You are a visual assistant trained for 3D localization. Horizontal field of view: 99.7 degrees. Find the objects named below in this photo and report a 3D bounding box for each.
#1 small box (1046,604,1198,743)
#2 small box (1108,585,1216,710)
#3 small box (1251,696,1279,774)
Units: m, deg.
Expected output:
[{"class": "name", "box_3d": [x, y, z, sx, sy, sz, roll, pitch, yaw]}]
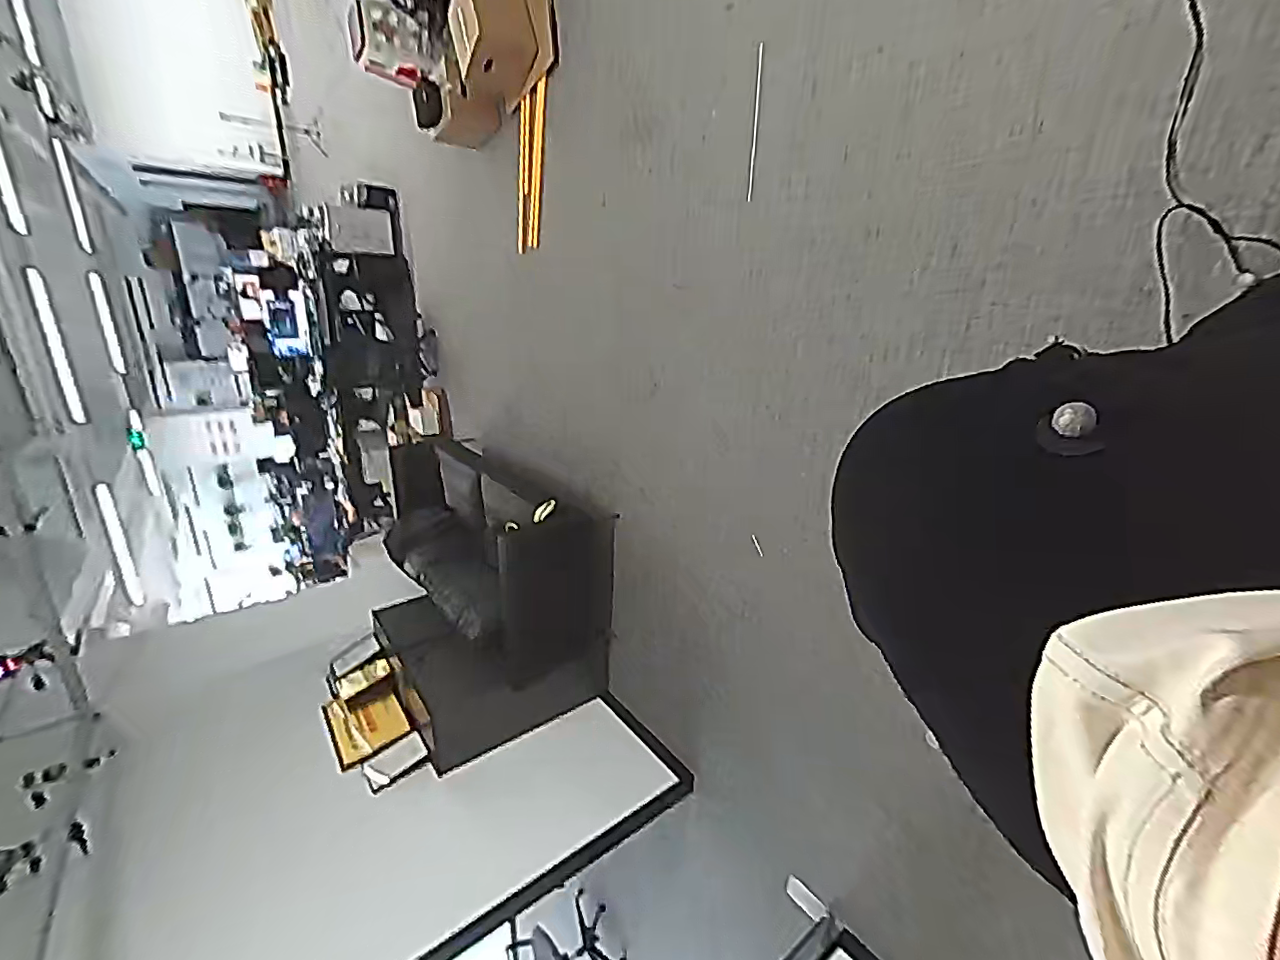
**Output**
[{"class": "small box", "box_3d": [0.986, 0.386, 1.107, 0.168, 0.176, 0.179, 34, 127, 44]}, {"class": "small box", "box_3d": [1.121, 0.363, 1.199, 0.168, 0.176, 0.179, 32, 125, 45]}, {"class": "small box", "box_3d": [1.294, 0.473, 0.992, 0.168, 0.176, 0.179, 31, 125, 46]}]
